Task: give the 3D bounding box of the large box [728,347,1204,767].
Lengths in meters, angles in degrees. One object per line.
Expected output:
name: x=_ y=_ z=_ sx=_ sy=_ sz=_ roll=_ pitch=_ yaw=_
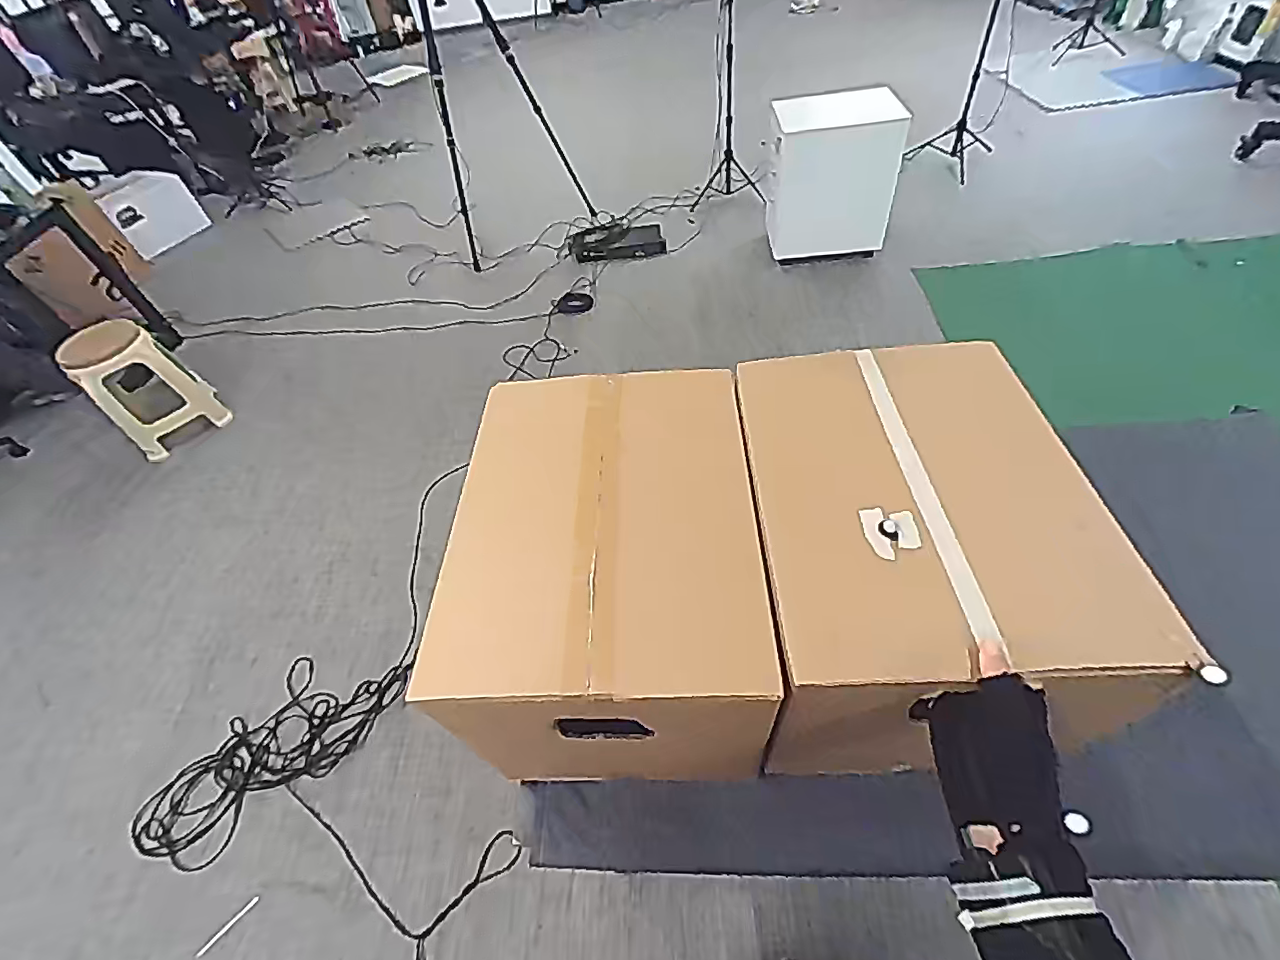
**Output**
large box: x=0.286 y=0.093 z=0.656 sx=0.320 sy=0.320 sz=0.408 roll=-5 pitch=51 yaw=5
